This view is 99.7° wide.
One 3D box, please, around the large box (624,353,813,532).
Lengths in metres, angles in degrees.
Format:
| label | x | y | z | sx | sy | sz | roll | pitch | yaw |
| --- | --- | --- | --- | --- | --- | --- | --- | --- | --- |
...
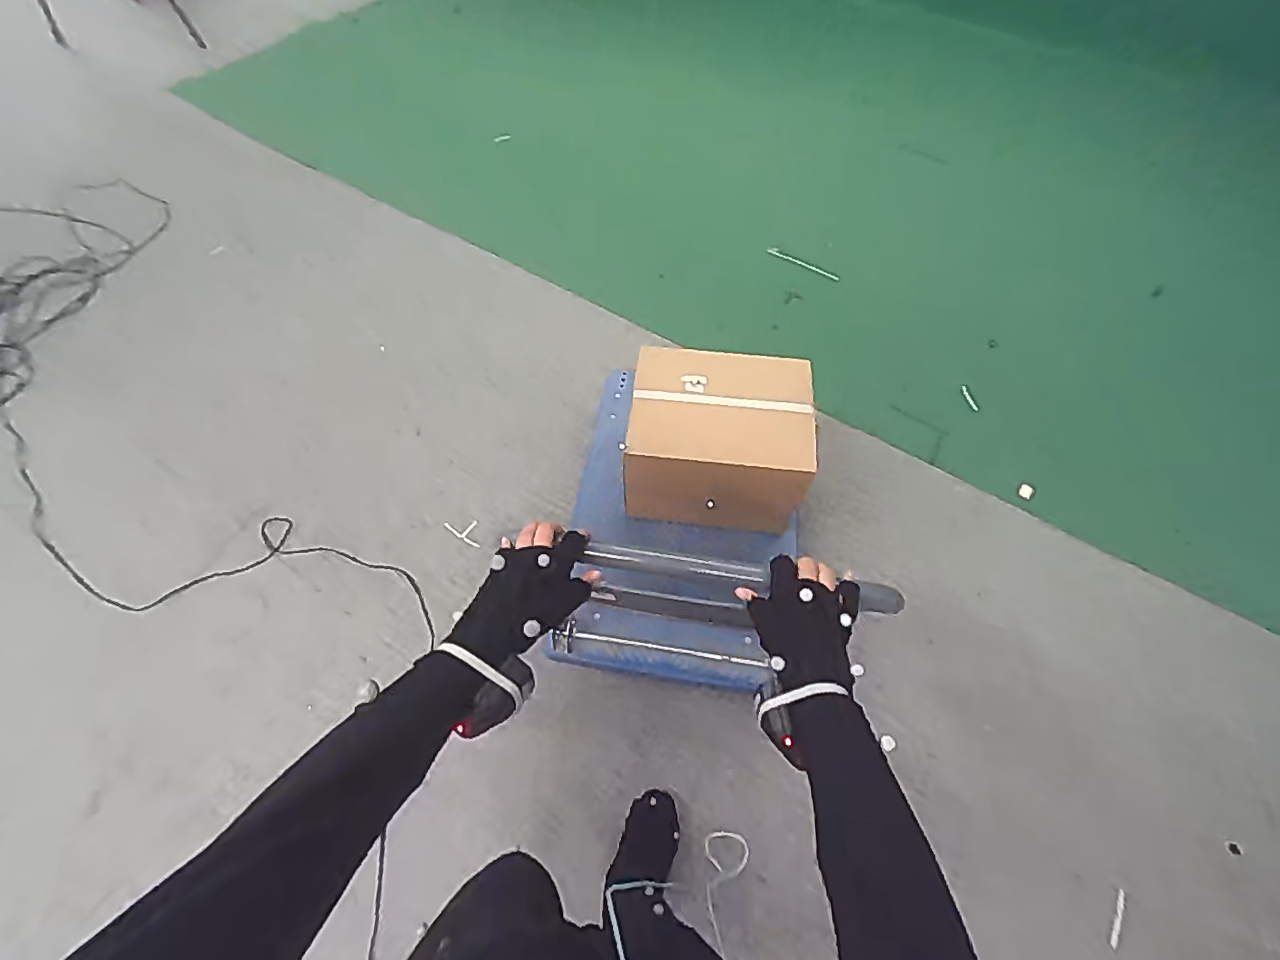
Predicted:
| label | x | y | z | sx | sy | sz | roll | pitch | yaw |
| --- | --- | --- | --- | --- | --- | --- | --- | --- | --- |
| large box | 0.183 | -0.084 | 1.335 | 0.408 | 0.320 | 0.320 | 5 | 59 | 5 |
